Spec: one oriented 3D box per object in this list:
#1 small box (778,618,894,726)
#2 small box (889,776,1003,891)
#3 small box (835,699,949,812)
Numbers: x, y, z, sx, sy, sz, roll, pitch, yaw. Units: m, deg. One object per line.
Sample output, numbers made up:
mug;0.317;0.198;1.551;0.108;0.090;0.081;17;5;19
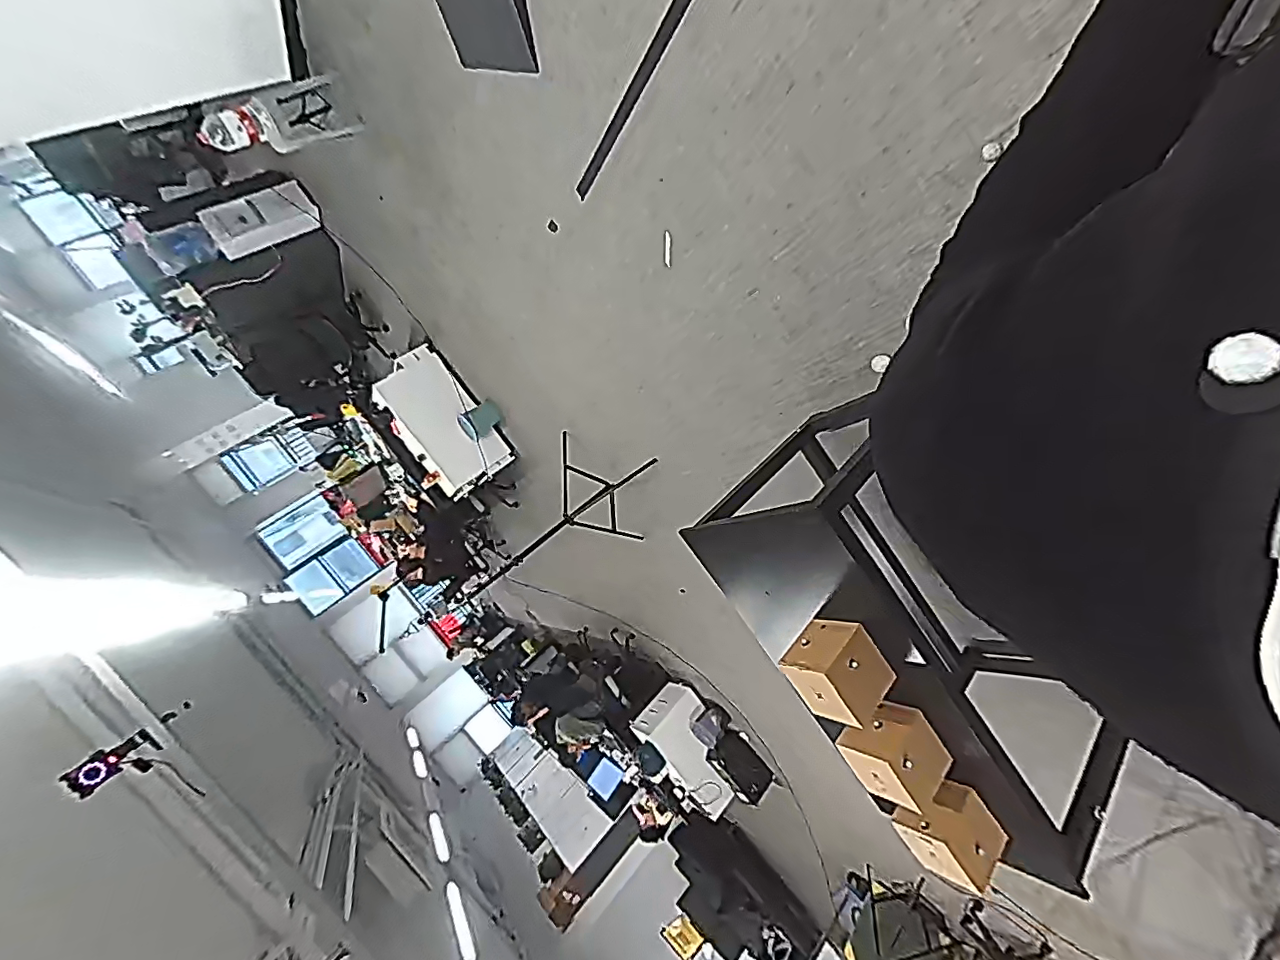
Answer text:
small box;0.488;0.466;1.344;0.179;0.176;0.168;53;155;-8
small box;0.804;0.906;1.416;0.179;0.176;0.168;53;153;-6
small box;0.644;0.688;1.381;0.179;0.176;0.168;54;154;-9
